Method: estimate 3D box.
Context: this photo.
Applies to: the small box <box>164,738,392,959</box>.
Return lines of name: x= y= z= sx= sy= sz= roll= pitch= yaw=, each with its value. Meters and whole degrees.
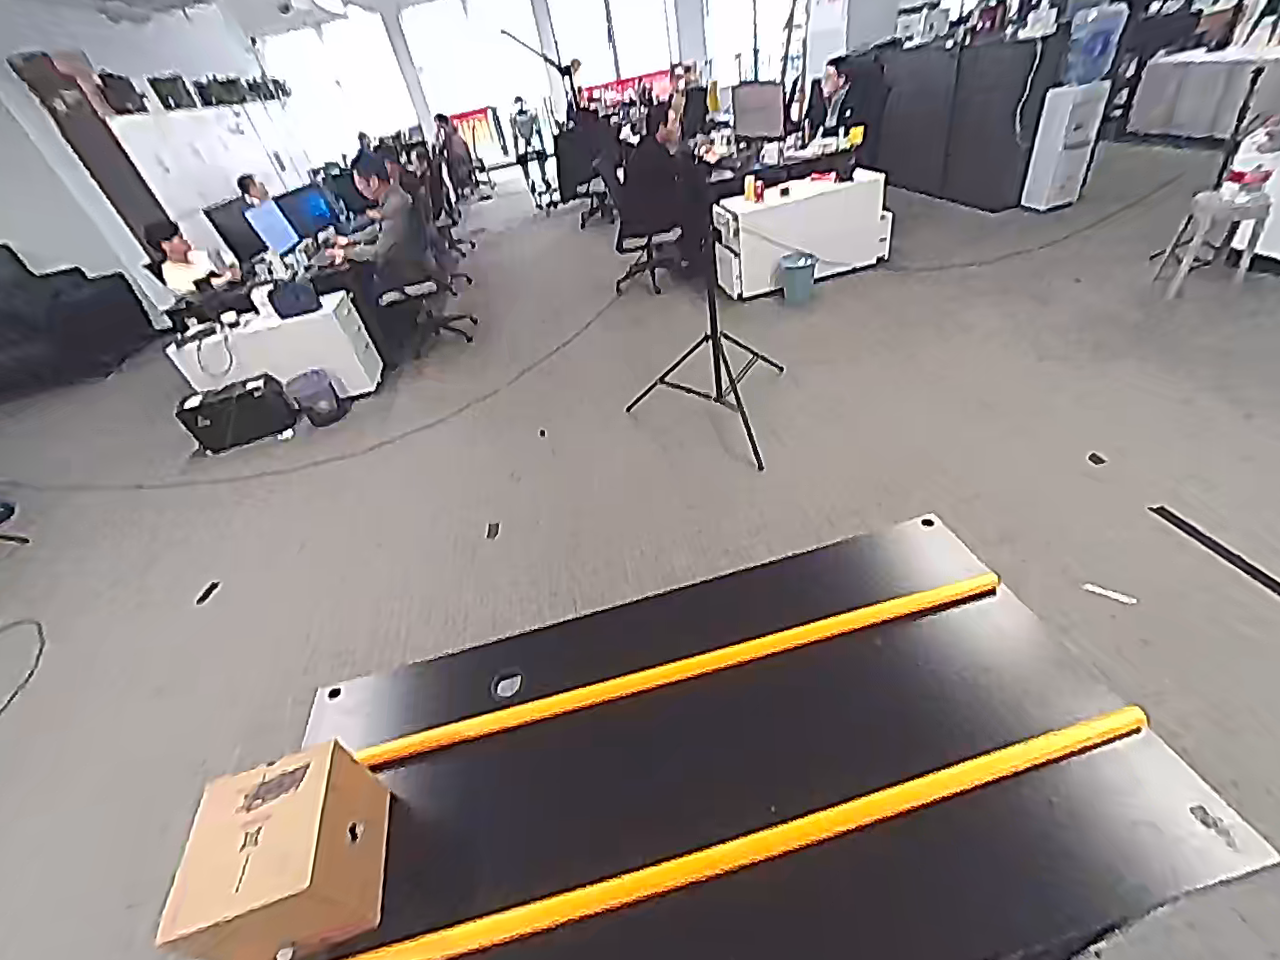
small box: x=-0.441 y=0.479 z=0.700 sx=0.168 sy=0.176 sz=0.179 roll=-17 pitch=39 yaw=-7
